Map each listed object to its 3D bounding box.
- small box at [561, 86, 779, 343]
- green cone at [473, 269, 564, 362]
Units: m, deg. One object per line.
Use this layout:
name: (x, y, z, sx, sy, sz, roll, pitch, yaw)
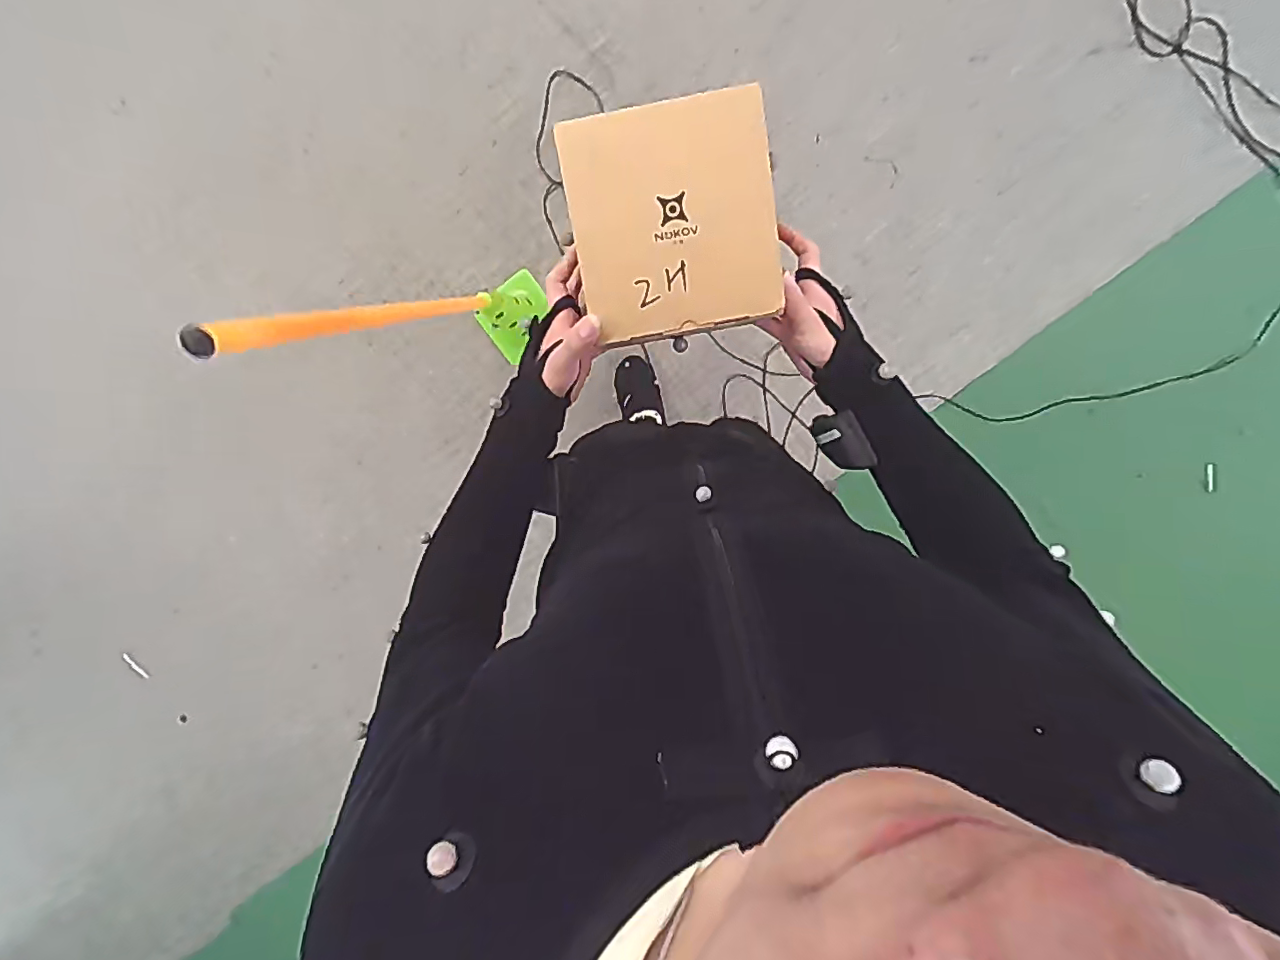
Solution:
small box: (0.027, -0.234, 0.524, 0.168, 0.176, 0.179, -8, 103, 3)
green cone: (-0.342, -0.431, 1.364, 0.202, 0.368, 0.200, -36, 100, 6)
